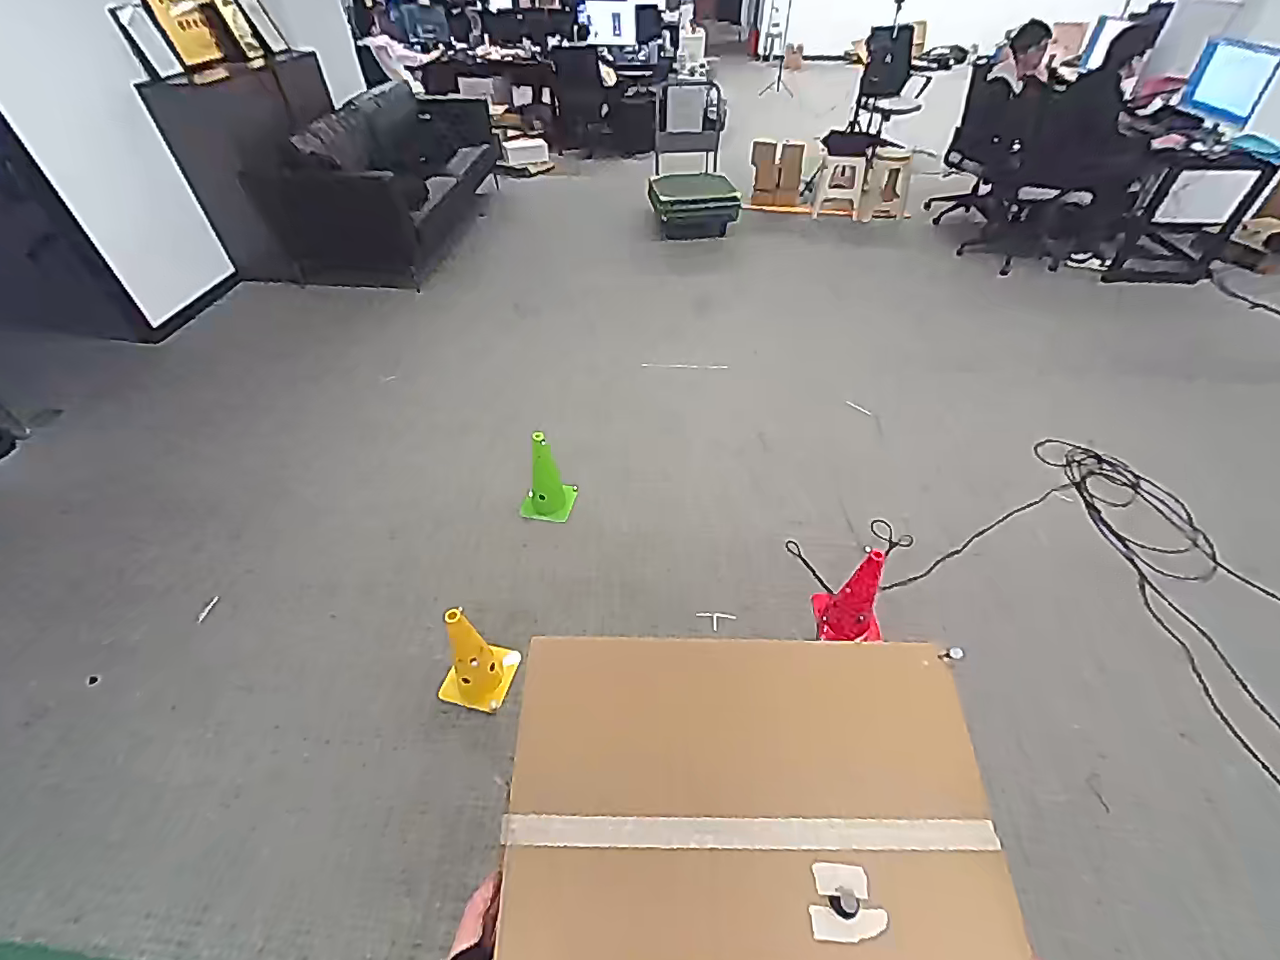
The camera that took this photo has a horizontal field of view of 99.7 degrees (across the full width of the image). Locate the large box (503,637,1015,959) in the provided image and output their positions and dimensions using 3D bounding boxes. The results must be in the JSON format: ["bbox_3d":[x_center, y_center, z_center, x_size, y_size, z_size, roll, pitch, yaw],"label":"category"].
[{"bbox_3d":[0.088,0.367,0.588,0.408,0.320,0.320,1,60,-1],"label":"large box"}]

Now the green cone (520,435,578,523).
[{"bbox_3d":[-0.375,-0.028,2.088,0.200,0.368,0.202,7,46,8],"label":"green cone"}]
